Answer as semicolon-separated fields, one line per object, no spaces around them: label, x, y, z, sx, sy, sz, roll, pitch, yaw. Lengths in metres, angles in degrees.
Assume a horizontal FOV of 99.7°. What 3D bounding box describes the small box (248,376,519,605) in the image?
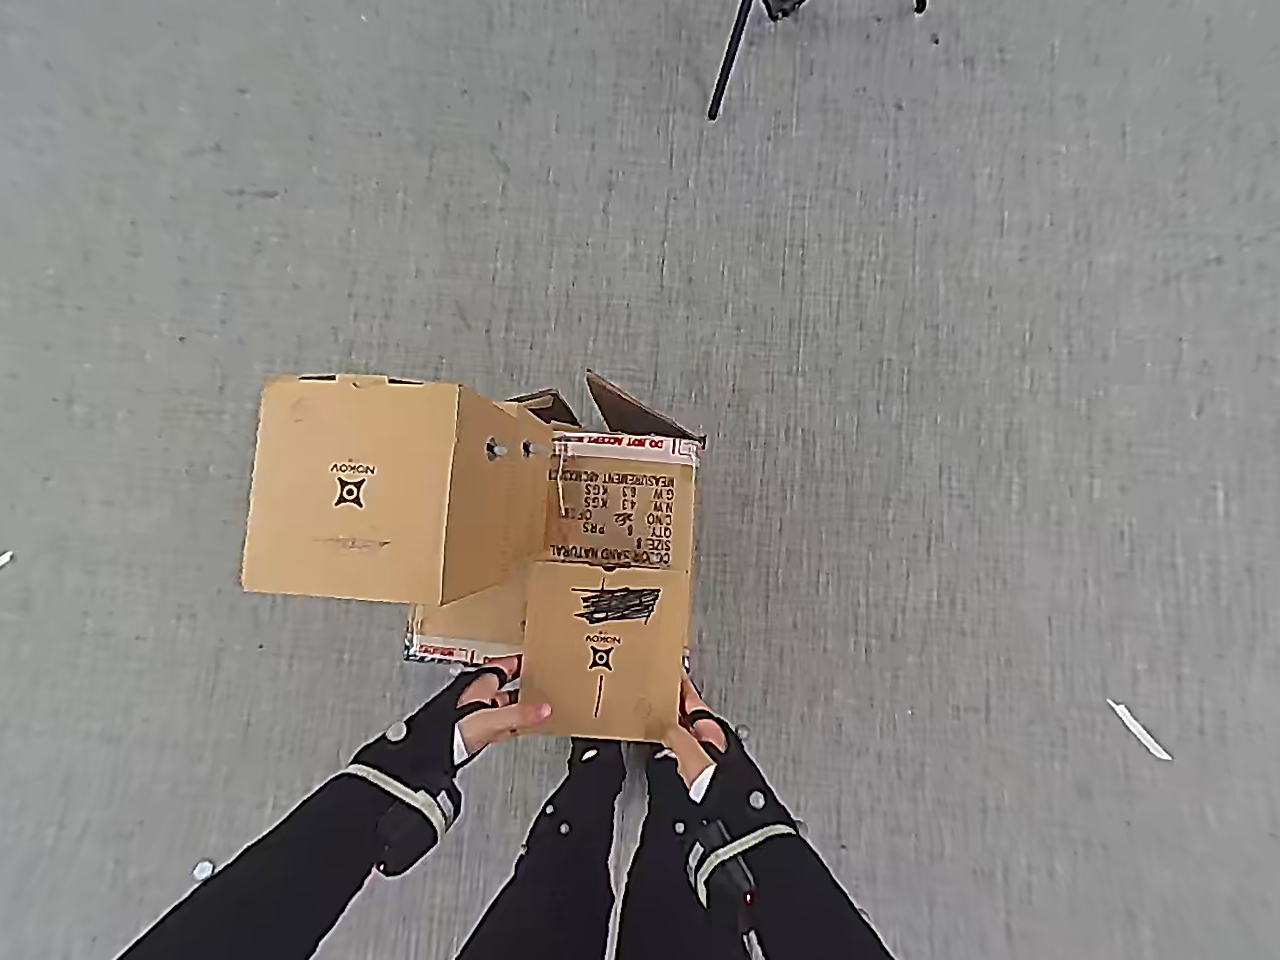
small box;-0.218;0.011;0.507;0.168;0.176;0.179;3;87;5

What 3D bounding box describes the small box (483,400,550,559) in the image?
small box;-0.213;0.002;0.671;0.168;0.176;0.179;3;86;4

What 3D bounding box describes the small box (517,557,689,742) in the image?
small box;-0.039;0.183;0.635;0.168;0.176;0.179;4;83;0
